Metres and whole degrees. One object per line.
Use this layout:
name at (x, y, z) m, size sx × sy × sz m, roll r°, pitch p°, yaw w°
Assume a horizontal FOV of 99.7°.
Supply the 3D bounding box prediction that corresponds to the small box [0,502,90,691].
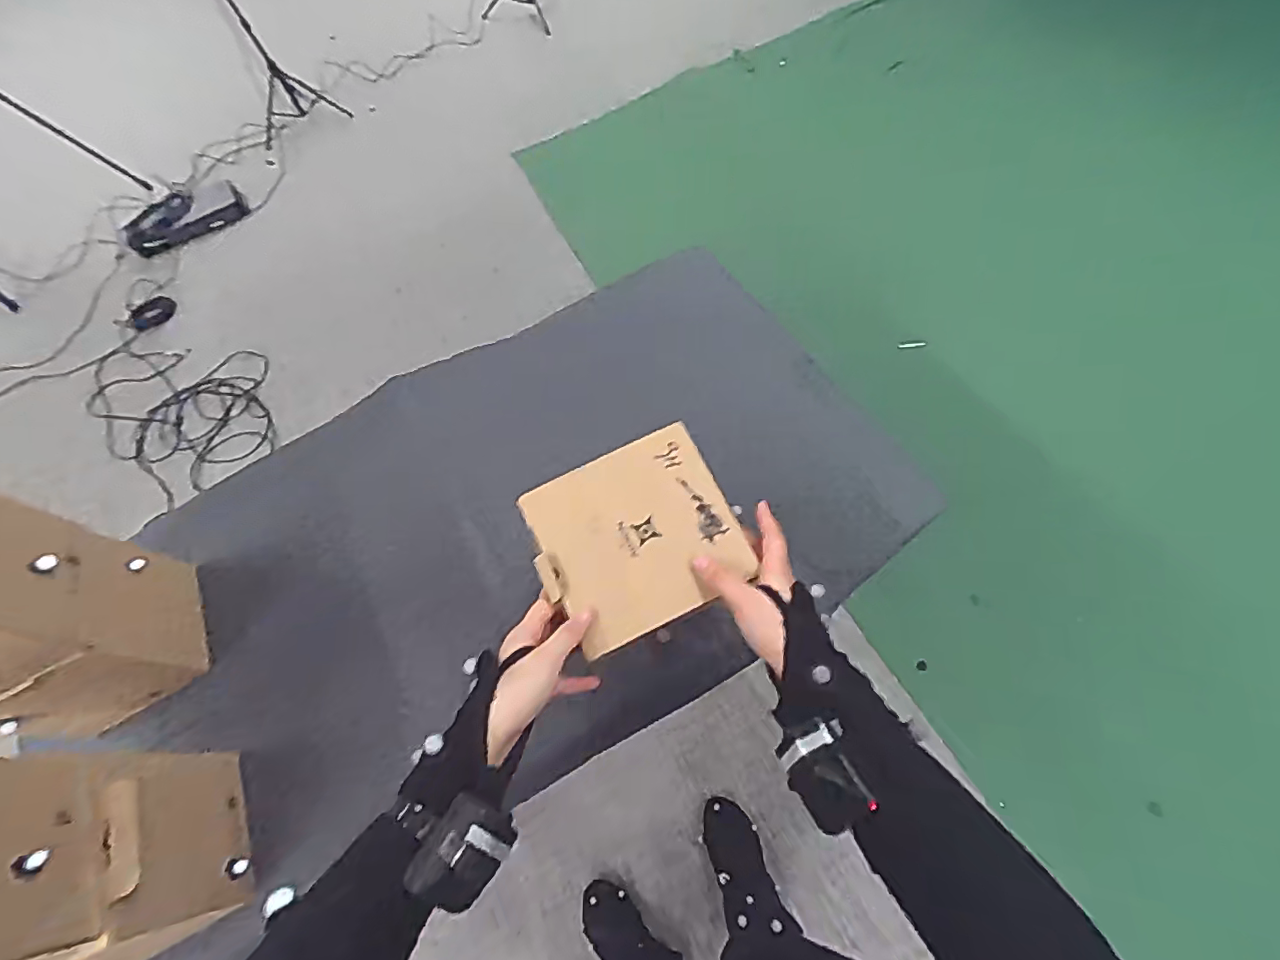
small box at (-0.716, 0.127, 0.537) m, size 0.179 × 0.176 × 0.168 m, roll -29°, pitch 64°, yaw -7°

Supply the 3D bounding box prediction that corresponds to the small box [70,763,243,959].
small box at (-0.549, 0.413, 0.556) m, size 0.179 × 0.176 × 0.168 m, roll -28°, pitch 63°, yaw -6°

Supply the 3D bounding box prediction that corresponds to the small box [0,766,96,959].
small box at (-0.585, 0.346, 0.412) m, size 0.179 × 0.176 × 0.168 m, roll -32°, pitch 64°, yaw -9°

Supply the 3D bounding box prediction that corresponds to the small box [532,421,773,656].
small box at (0.014, 0.070, 0.564) m, size 0.179 × 0.176 × 0.168 m, roll -25°, pitch 74°, yaw -4°
